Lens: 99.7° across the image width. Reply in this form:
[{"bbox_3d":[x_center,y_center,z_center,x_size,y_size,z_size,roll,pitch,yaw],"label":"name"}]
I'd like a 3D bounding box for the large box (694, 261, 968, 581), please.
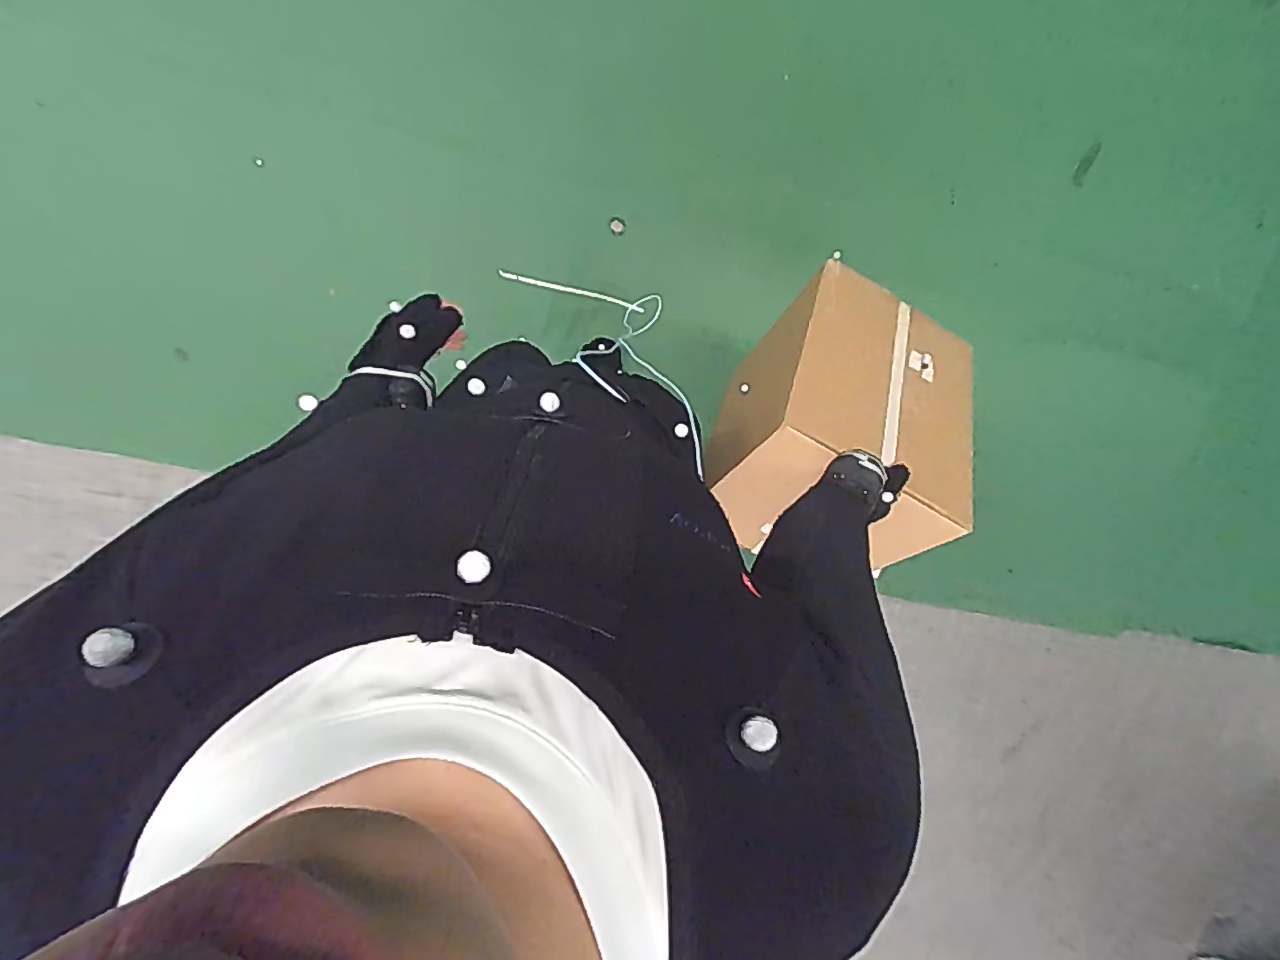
[{"bbox_3d":[0.338,-0.091,0.968,0.320,0.320,0.408,29,57,-8],"label":"large box"}]
